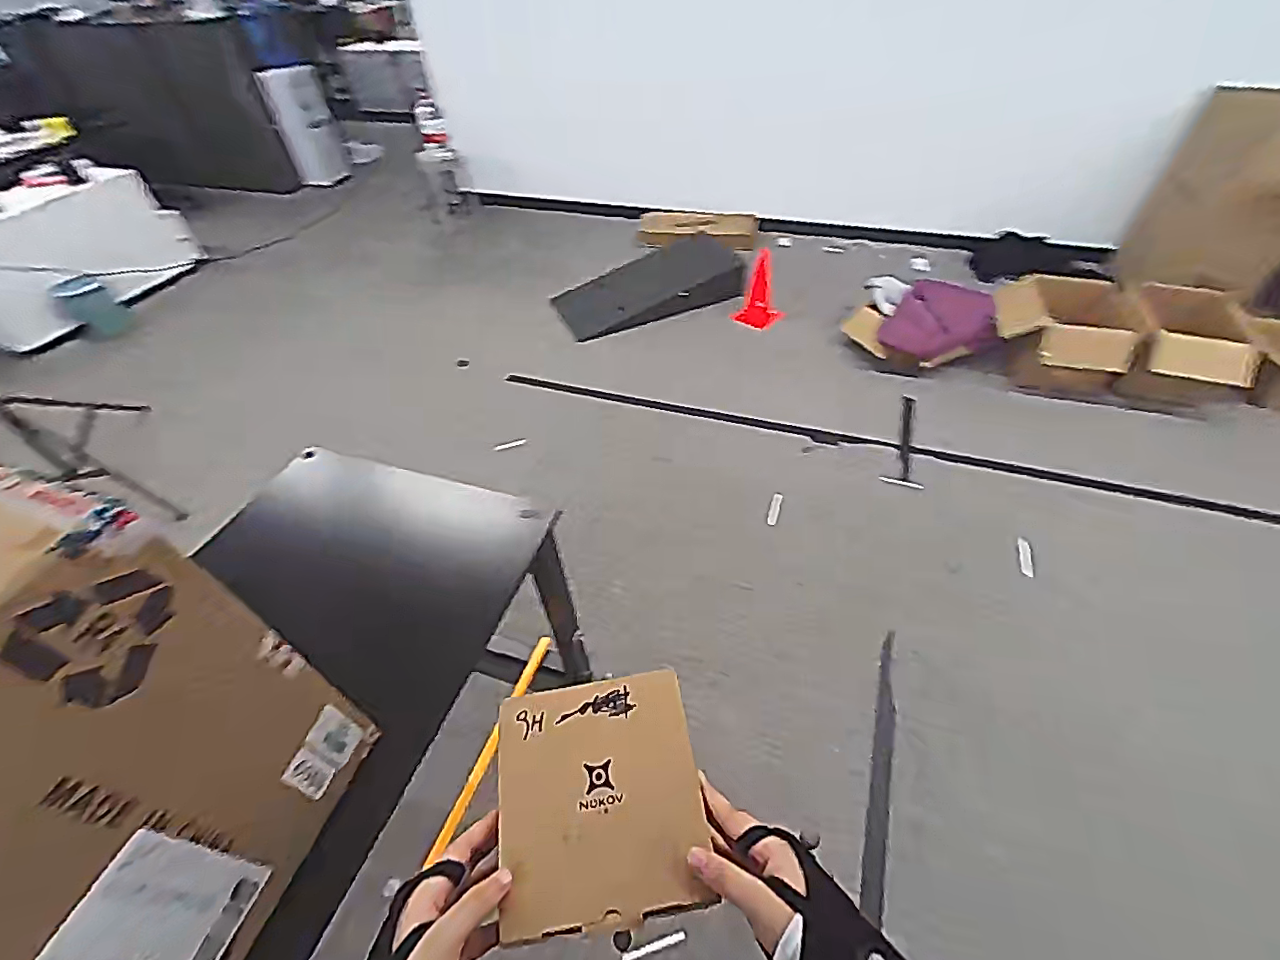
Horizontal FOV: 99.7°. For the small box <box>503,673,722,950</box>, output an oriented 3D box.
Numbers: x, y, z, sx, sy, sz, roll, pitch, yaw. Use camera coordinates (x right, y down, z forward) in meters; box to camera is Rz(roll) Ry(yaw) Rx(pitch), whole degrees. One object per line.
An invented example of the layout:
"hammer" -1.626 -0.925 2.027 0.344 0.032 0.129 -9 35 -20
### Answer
"small box" -0.024 0.304 0.505 0.168 0.176 0.179 -9 52 -3
